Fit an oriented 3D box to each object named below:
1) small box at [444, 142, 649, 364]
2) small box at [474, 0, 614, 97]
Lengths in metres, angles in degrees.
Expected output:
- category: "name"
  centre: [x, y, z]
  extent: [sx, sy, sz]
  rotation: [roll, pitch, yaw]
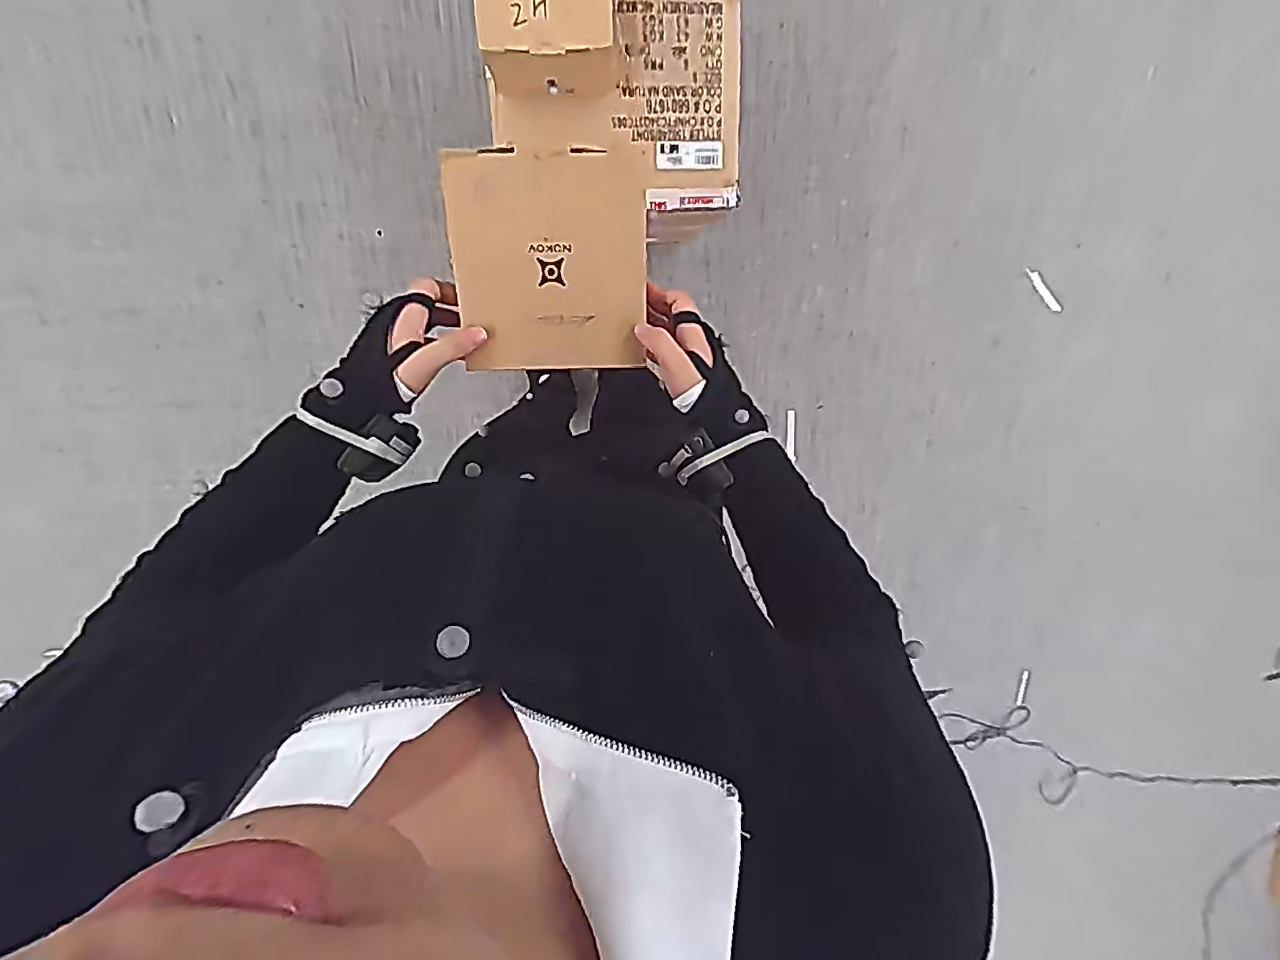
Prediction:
- category: "small box"
  centre: [-0.079, -0.217, 0.534]
  extent: [0.168, 0.176, 0.179]
  rotation: [-2, 113, -2]
- category: "small box"
  centre: [-0.122, -0.630, 0.705]
  extent: [0.168, 0.176, 0.179]
  rotation: [-3, 110, -3]
